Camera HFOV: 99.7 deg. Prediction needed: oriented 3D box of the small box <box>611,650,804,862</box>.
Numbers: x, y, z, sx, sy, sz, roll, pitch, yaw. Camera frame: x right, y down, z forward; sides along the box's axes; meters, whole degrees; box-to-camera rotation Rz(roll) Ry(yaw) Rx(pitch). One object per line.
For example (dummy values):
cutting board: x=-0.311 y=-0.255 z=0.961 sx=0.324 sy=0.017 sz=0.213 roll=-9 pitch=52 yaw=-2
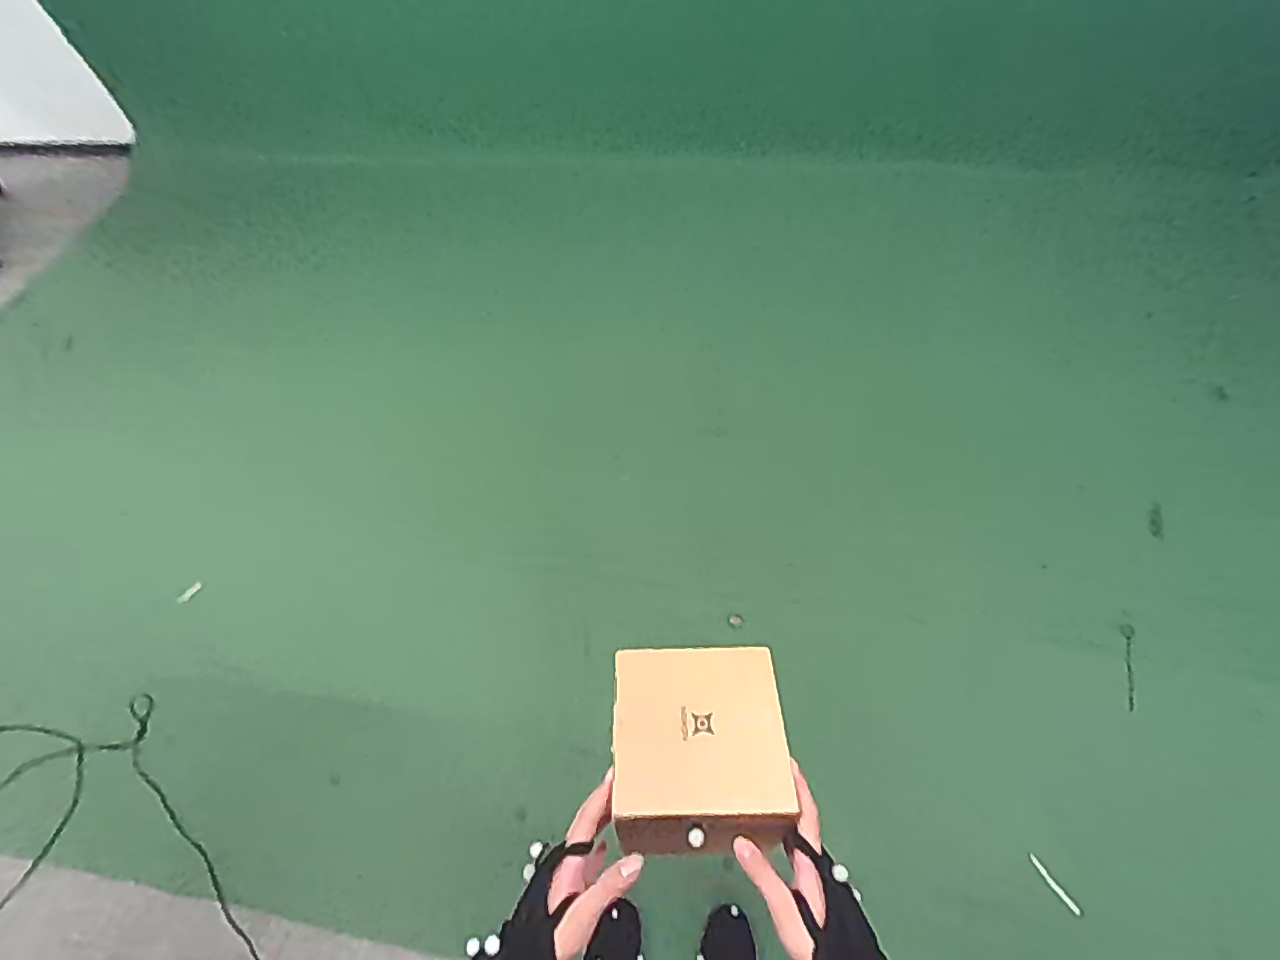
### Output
small box: x=0.064 y=0.303 z=0.594 sx=0.179 sy=0.176 sz=0.168 roll=-3 pitch=44 yaw=2
